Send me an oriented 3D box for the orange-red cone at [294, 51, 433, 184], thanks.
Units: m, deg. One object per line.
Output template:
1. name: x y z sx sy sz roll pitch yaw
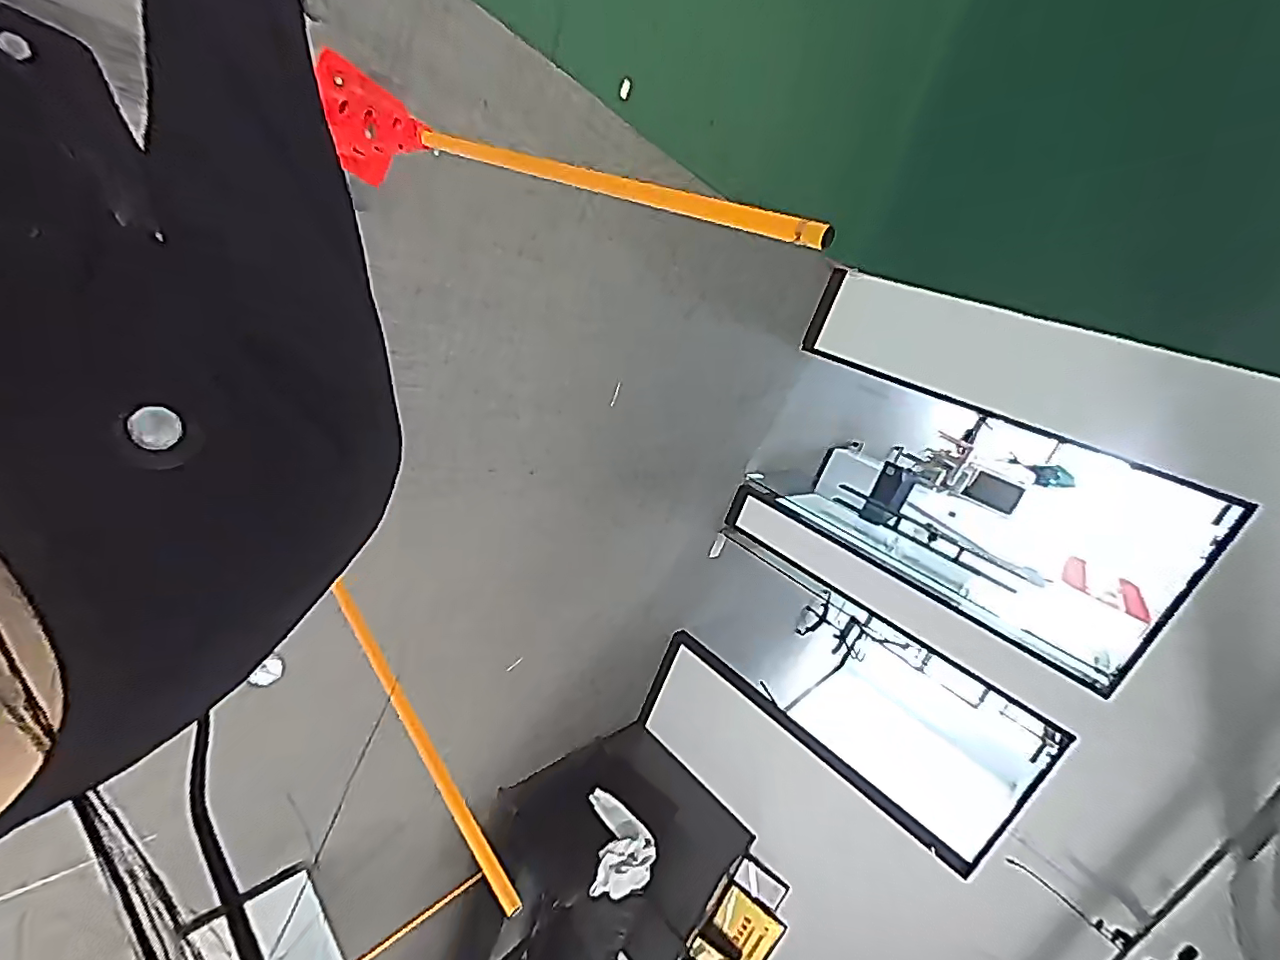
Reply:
1. orange-red cone: -0.530 -0.730 1.122 0.198 0.360 0.199 17 104 -55
